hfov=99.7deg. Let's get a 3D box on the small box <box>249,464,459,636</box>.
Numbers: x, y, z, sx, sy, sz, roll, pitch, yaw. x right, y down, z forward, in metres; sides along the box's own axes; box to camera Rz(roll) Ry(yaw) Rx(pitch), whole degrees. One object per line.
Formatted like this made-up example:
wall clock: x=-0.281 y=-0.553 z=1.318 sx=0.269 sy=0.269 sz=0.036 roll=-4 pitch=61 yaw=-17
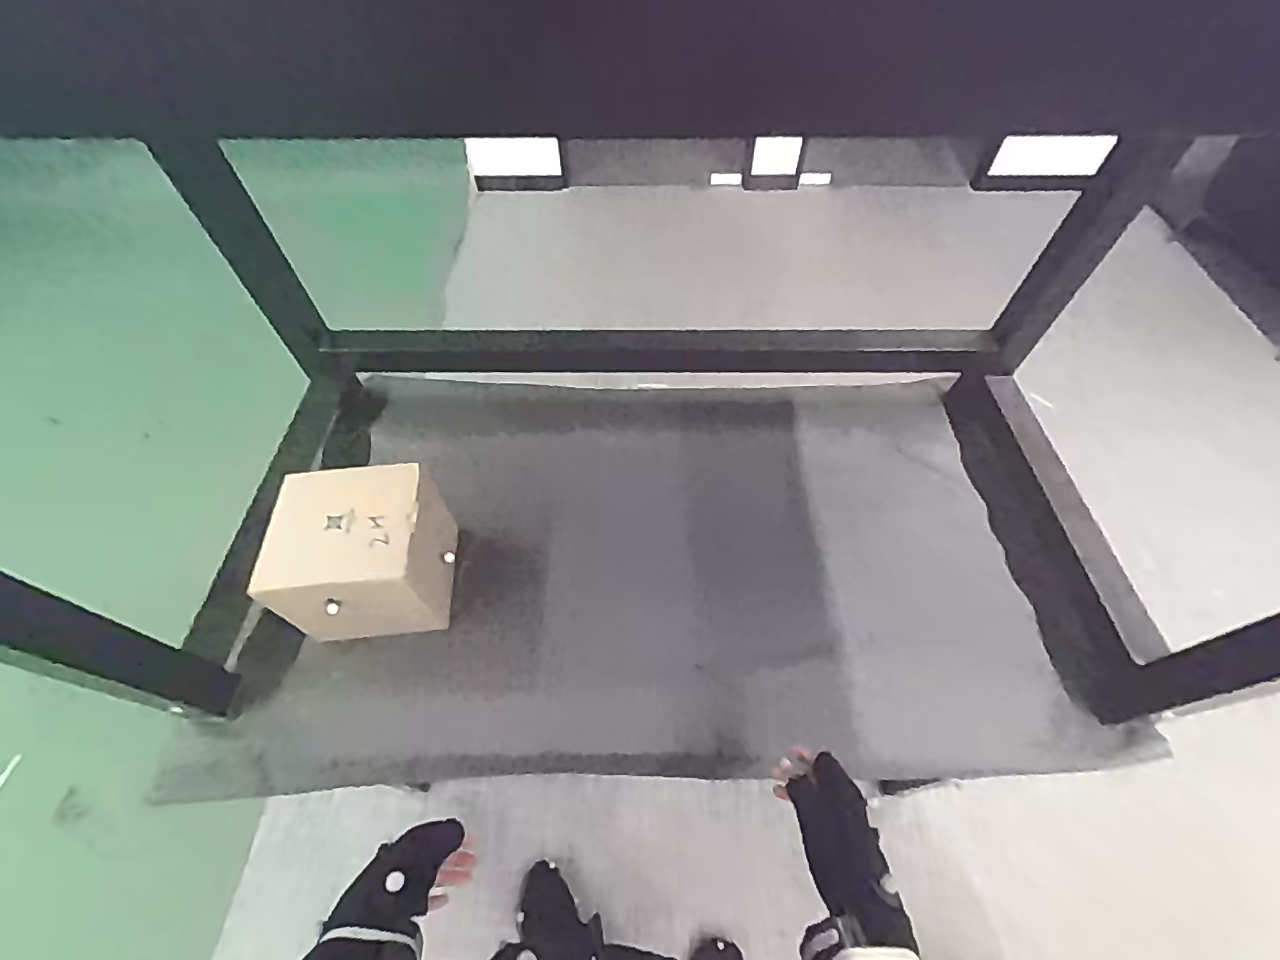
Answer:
small box: x=-0.359 y=0.098 z=0.719 sx=0.179 sy=0.176 sz=0.168 roll=-5 pitch=56 yaw=-3
